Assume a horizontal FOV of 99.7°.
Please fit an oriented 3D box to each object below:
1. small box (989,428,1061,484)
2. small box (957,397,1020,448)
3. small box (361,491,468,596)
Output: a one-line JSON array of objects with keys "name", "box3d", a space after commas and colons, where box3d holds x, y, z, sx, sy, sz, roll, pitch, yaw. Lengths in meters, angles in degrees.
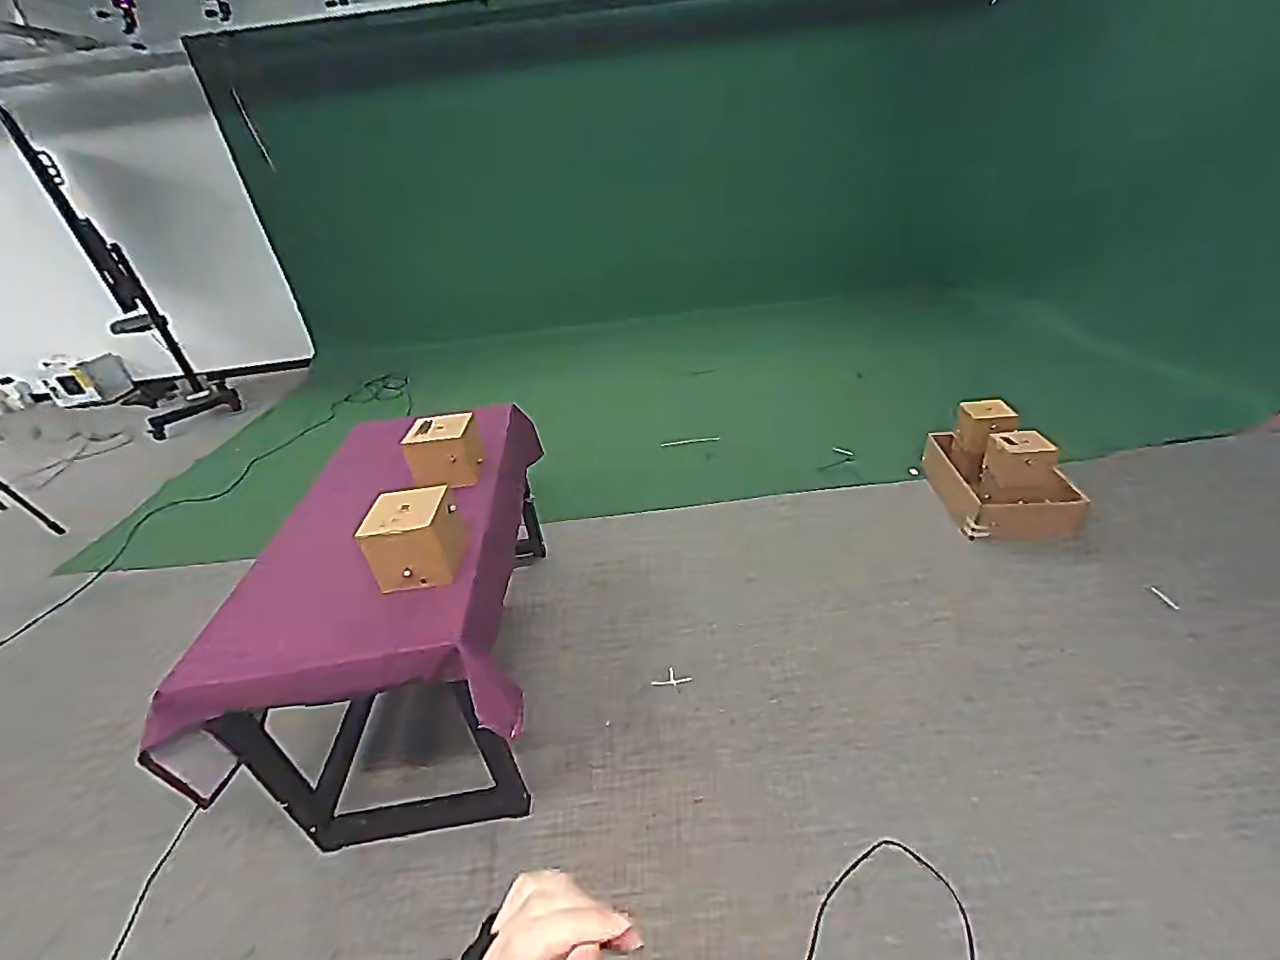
[{"name": "small box", "box3d": [1.527, -0.093, 2.162, 0.179, 0.176, 0.168, -4, 32, 6]}, {"name": "small box", "box3d": [1.555, -0.256, 2.421, 0.179, 0.176, 0.168, -5, 33, 9]}, {"name": "small box", "box3d": [-0.524, 0.149, 1.287, 0.168, 0.176, 0.179, -9, 32, 1]}]
